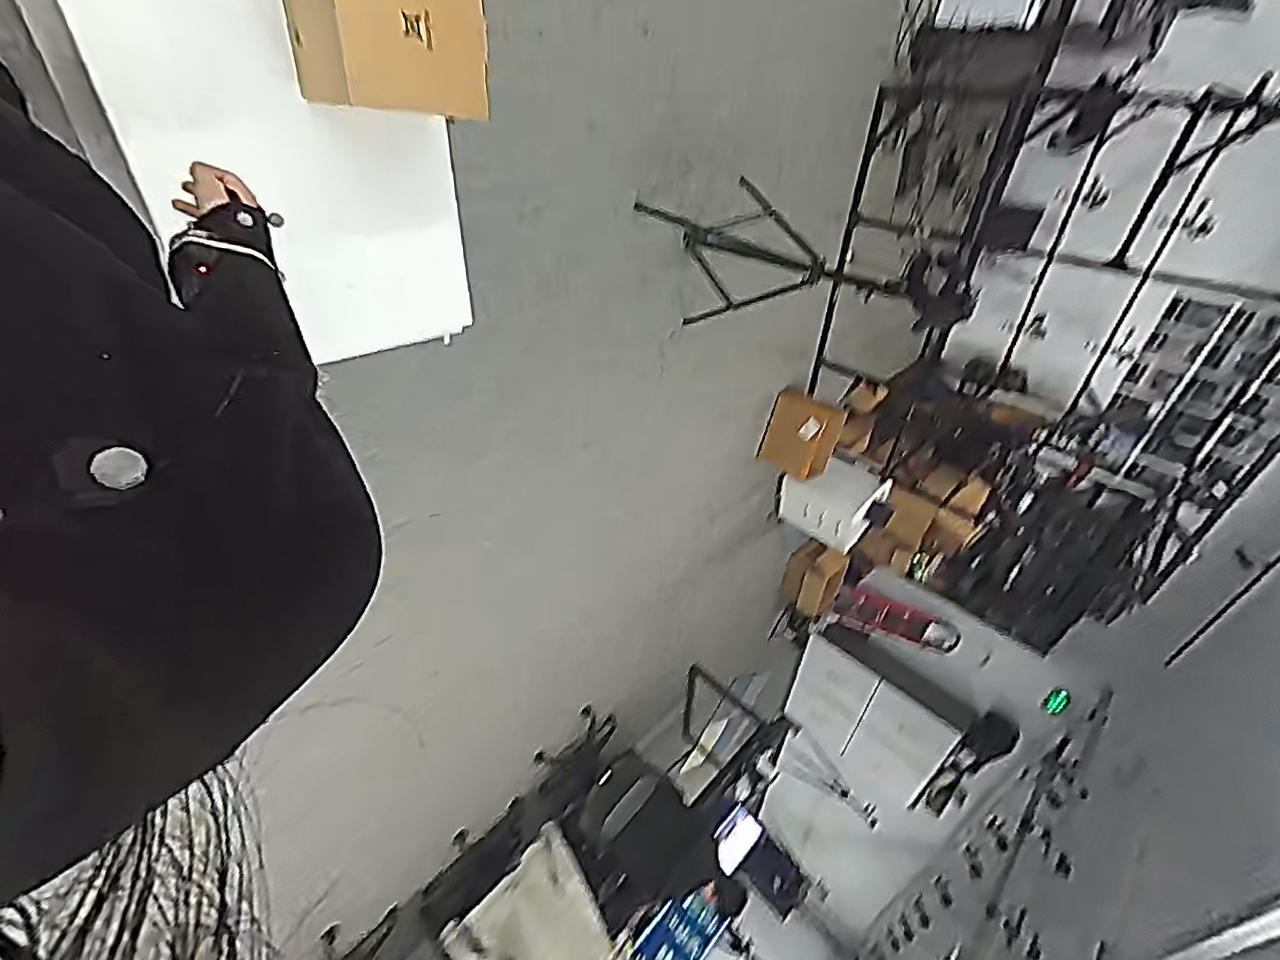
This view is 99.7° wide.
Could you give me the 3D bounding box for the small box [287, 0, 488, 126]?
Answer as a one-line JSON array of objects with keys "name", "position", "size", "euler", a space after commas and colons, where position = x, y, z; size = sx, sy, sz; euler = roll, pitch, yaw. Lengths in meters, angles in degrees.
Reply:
[{"name": "small box", "position": [-0.308, -0.539, 0.656], "size": [0.179, 0.176, 0.168], "euler": [-25, 134, -39]}]
